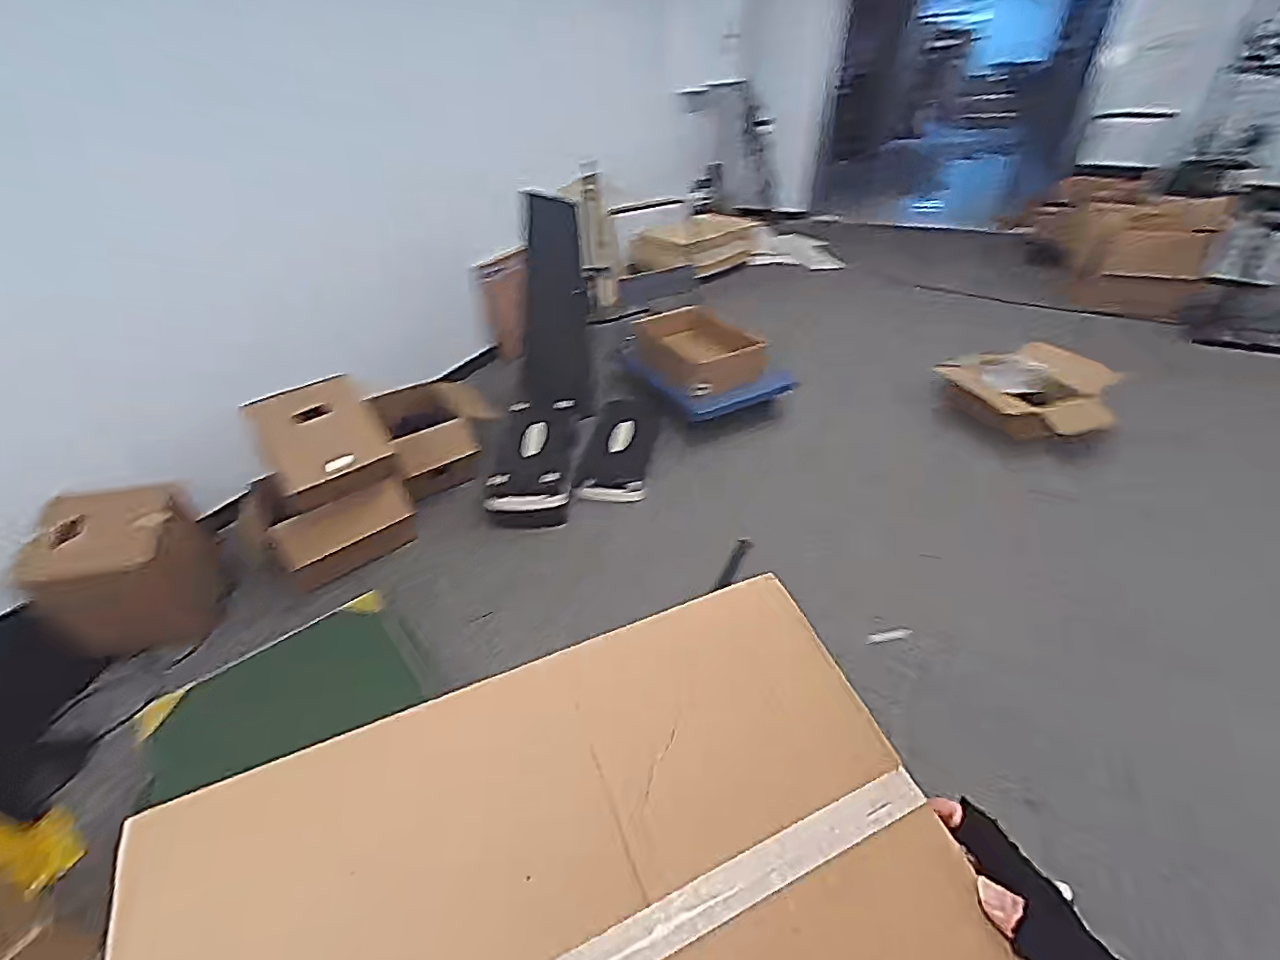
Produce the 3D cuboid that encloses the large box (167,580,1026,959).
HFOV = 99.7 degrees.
[{"bbox_3d":[-0.024,0.335,0.385,0.408,0.320,0.320,-16,54,-16],"label":"large box"}]
